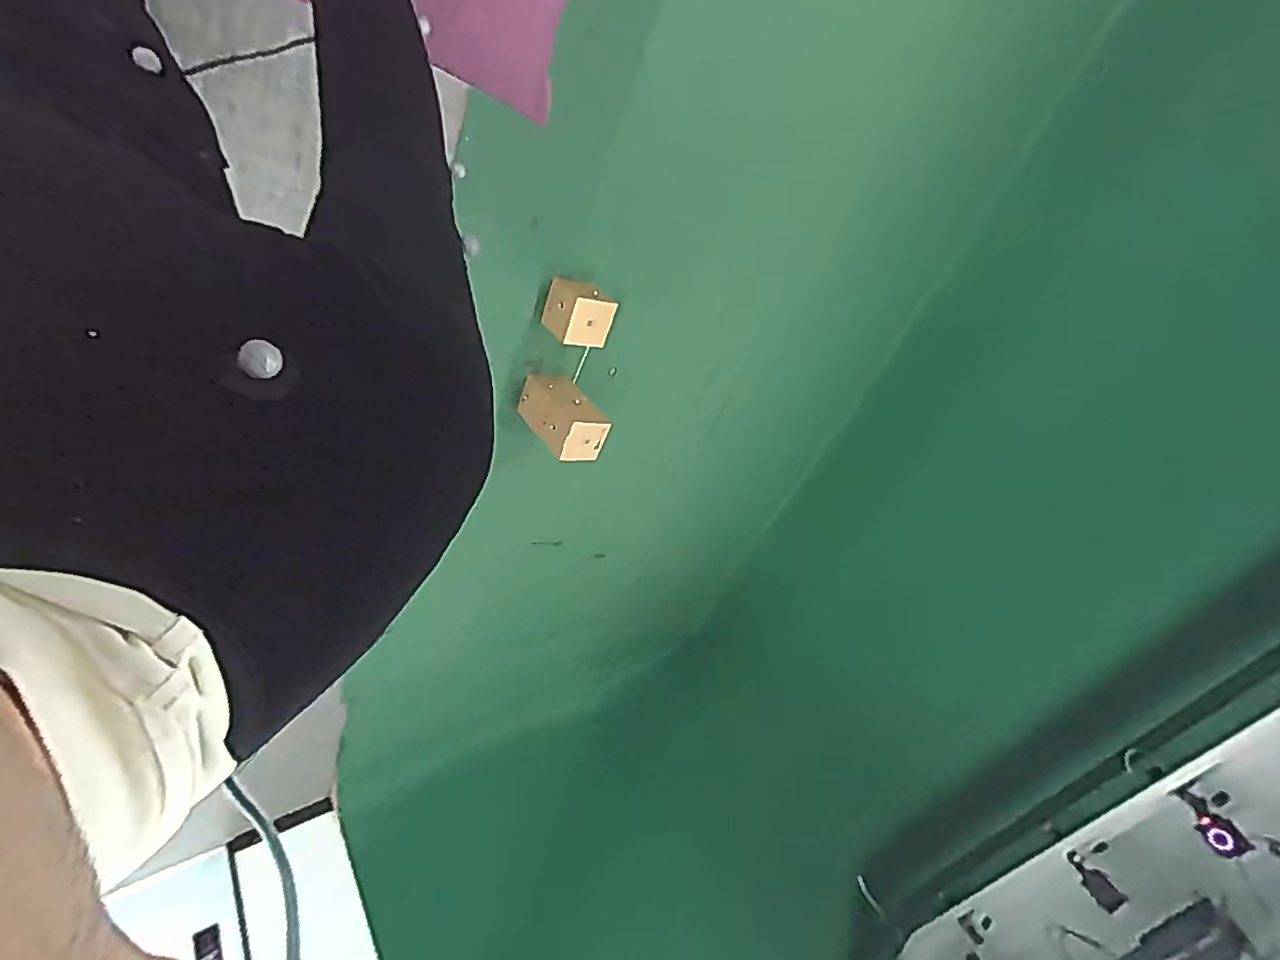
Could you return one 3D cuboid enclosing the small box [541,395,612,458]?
[{"bbox_3d":[-0.239,-0.198,1.985,0.179,0.176,0.168,-2,130,-44],"label":"small box"}]

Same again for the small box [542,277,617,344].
[{"bbox_3d":[-0.215,-0.589,1.877,0.179,0.176,0.168,-9,134,-43],"label":"small box"}]
